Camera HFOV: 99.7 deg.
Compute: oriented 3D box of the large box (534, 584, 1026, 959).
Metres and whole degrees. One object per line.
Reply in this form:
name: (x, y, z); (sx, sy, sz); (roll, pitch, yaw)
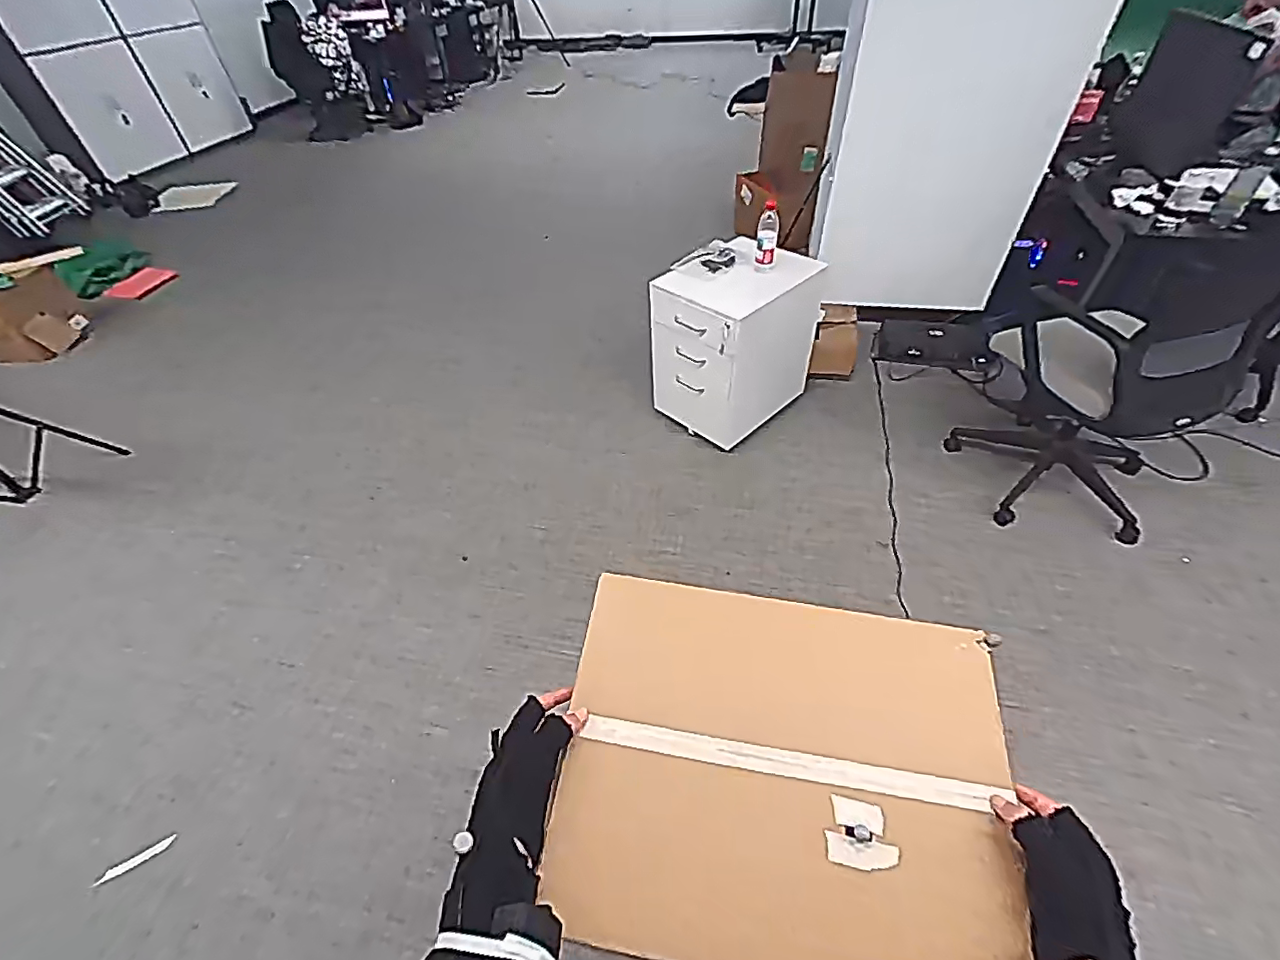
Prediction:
large box: (0.129, 0.348, 0.633); (0.408, 0.320, 0.320); (7, 57, 6)
